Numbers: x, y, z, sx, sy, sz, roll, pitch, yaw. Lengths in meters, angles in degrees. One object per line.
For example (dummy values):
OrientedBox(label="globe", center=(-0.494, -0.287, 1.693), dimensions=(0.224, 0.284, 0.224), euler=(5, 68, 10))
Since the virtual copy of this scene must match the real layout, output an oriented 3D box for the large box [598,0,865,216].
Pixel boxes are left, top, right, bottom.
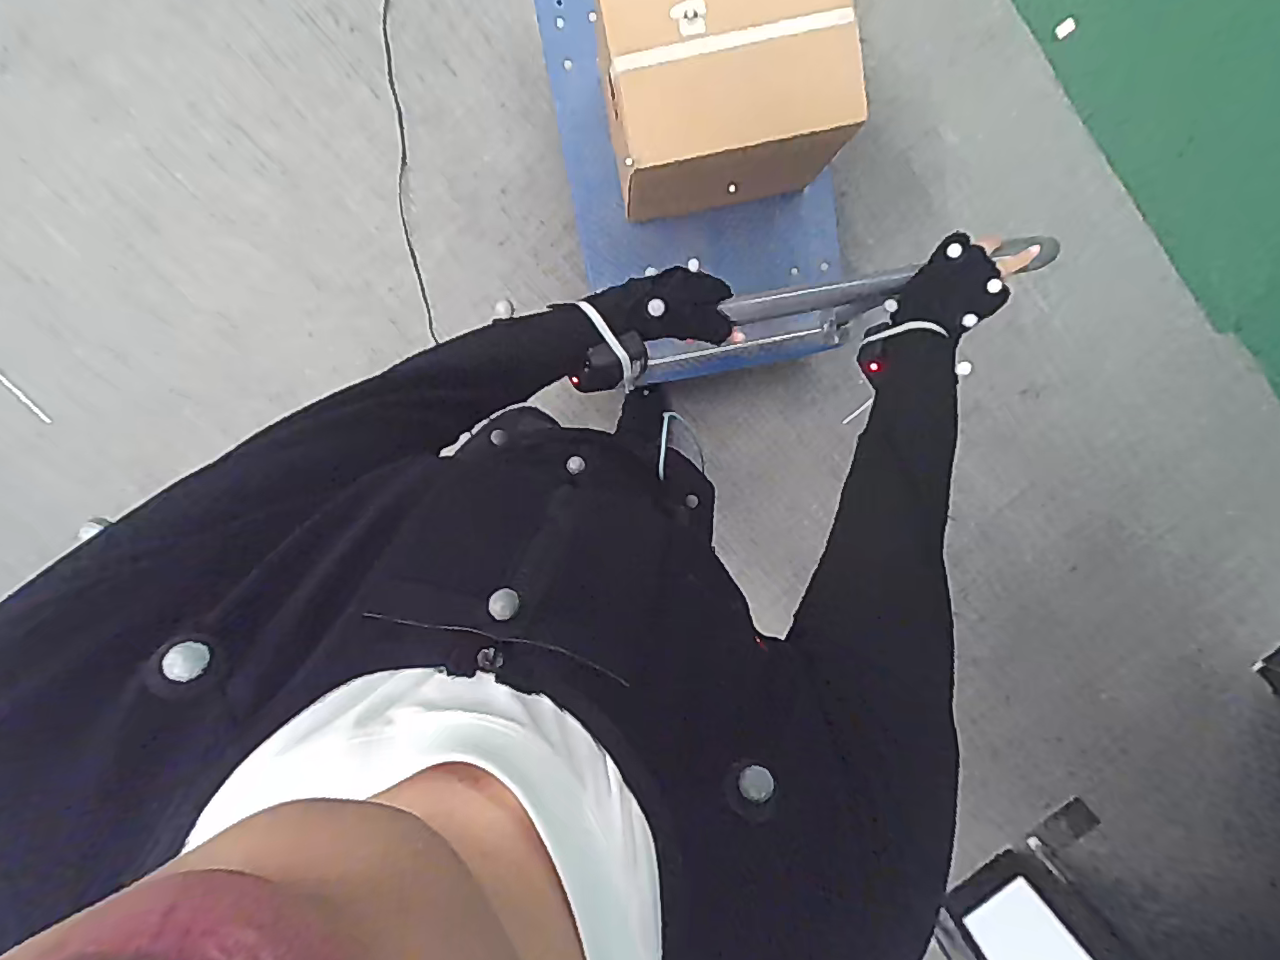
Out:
OrientedBox(label="large box", center=(0.152, -0.743, 1.030), dimensions=(0.408, 0.320, 0.320), euler=(-12, 100, 0))
